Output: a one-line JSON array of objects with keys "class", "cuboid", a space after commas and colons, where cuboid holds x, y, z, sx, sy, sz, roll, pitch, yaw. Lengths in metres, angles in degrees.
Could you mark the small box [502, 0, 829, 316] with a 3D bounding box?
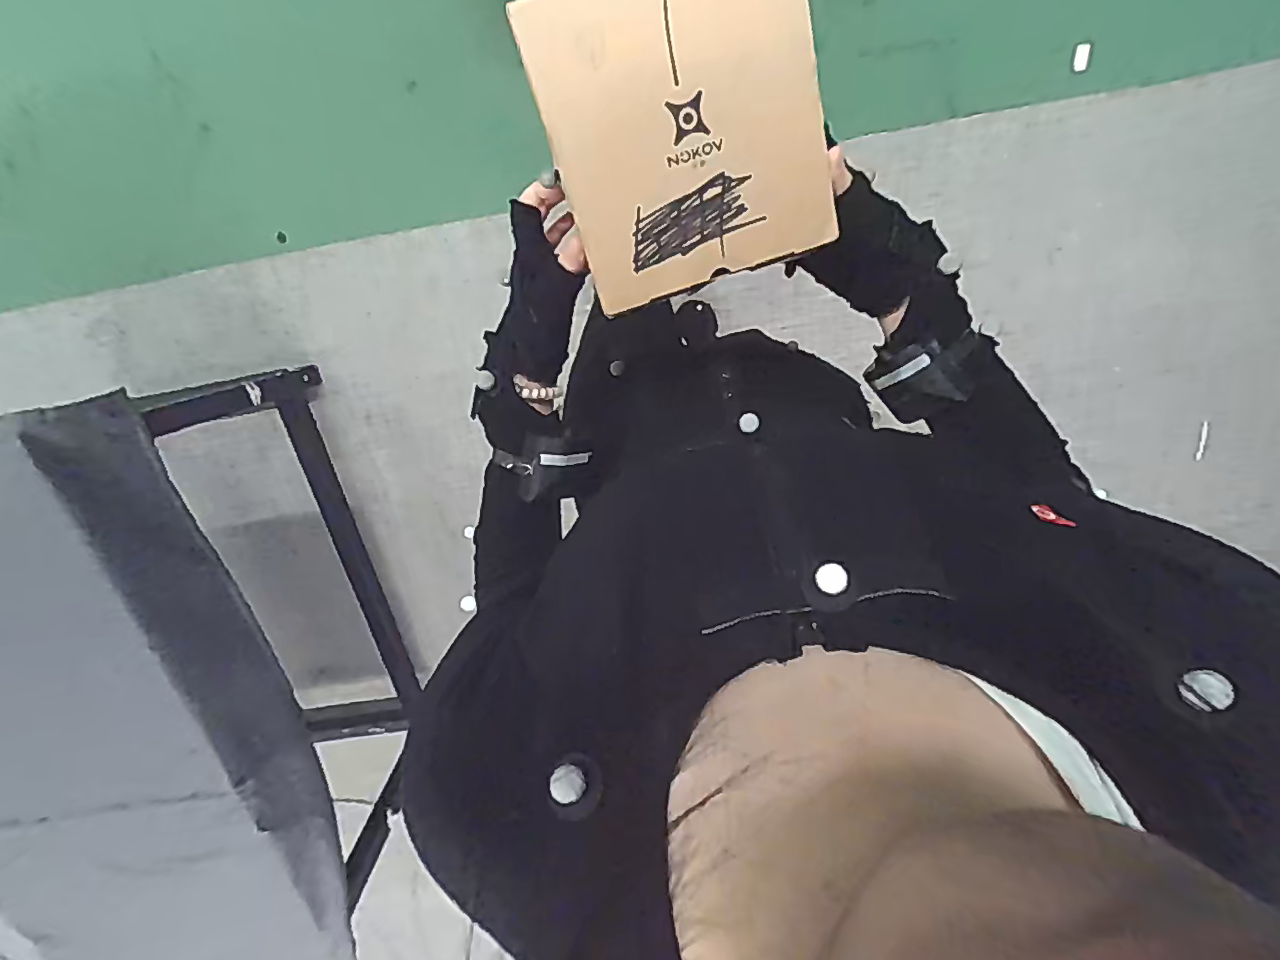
[{"class": "small box", "cuboid": [0.018, -0.242, 0.400, 0.168, 0.176, 0.179, -18, 115, 2]}]
